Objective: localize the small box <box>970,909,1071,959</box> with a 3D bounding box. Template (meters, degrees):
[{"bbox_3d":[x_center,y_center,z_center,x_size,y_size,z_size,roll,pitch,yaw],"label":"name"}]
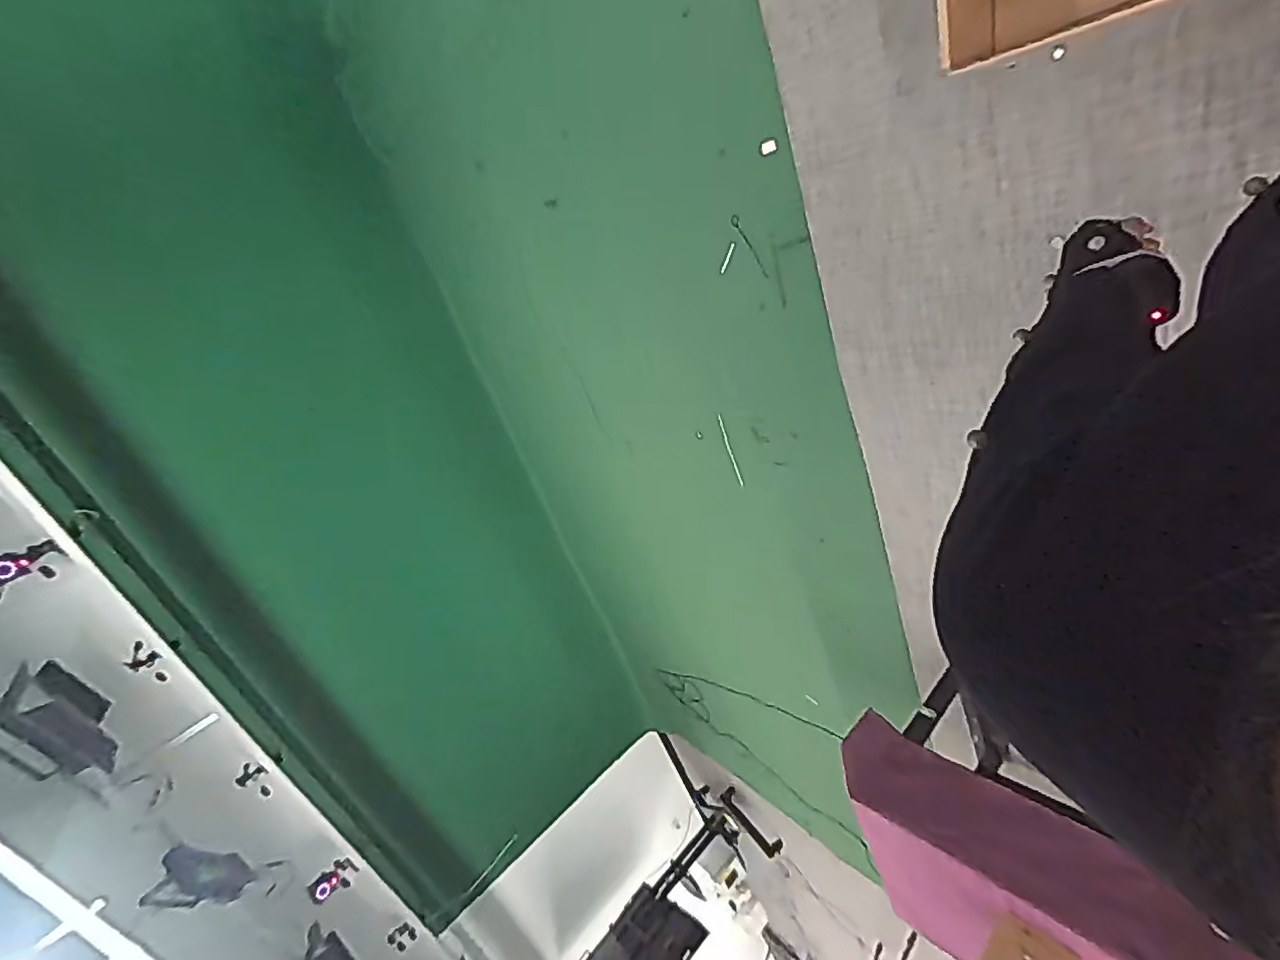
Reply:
[{"bbox_3d":[0.919,1.197,1.298,0.168,0.176,0.179,5,124,55],"label":"small box"}]
